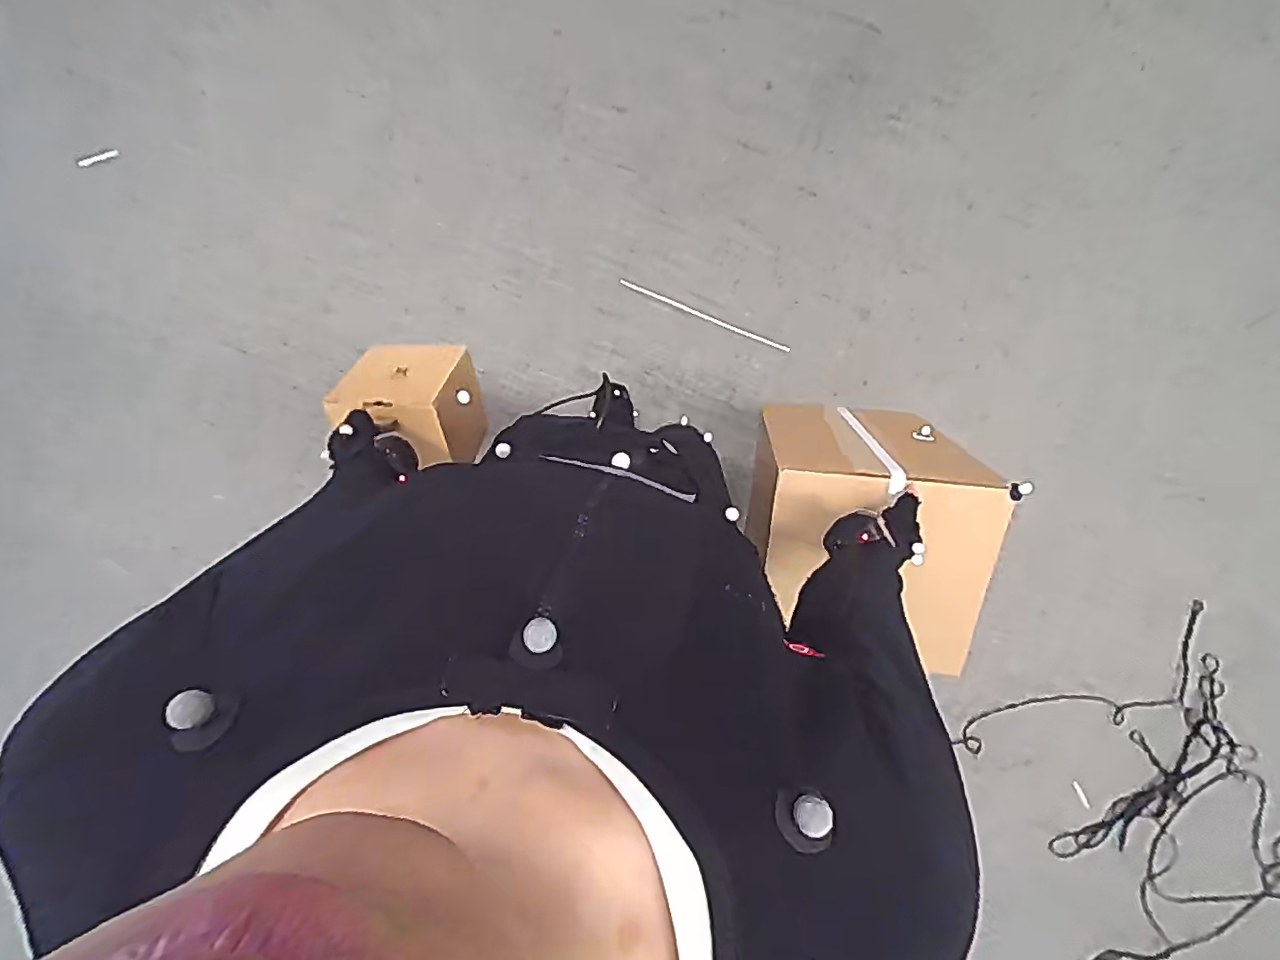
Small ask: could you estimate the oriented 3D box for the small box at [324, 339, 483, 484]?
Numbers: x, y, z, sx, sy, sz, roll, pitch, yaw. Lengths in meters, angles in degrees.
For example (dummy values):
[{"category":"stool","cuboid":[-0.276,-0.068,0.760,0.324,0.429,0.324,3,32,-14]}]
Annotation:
[{"category":"small box","cuboid":[-0.369,-0.114,0.887,0.168,0.179,0.176,1,134,4]}]
